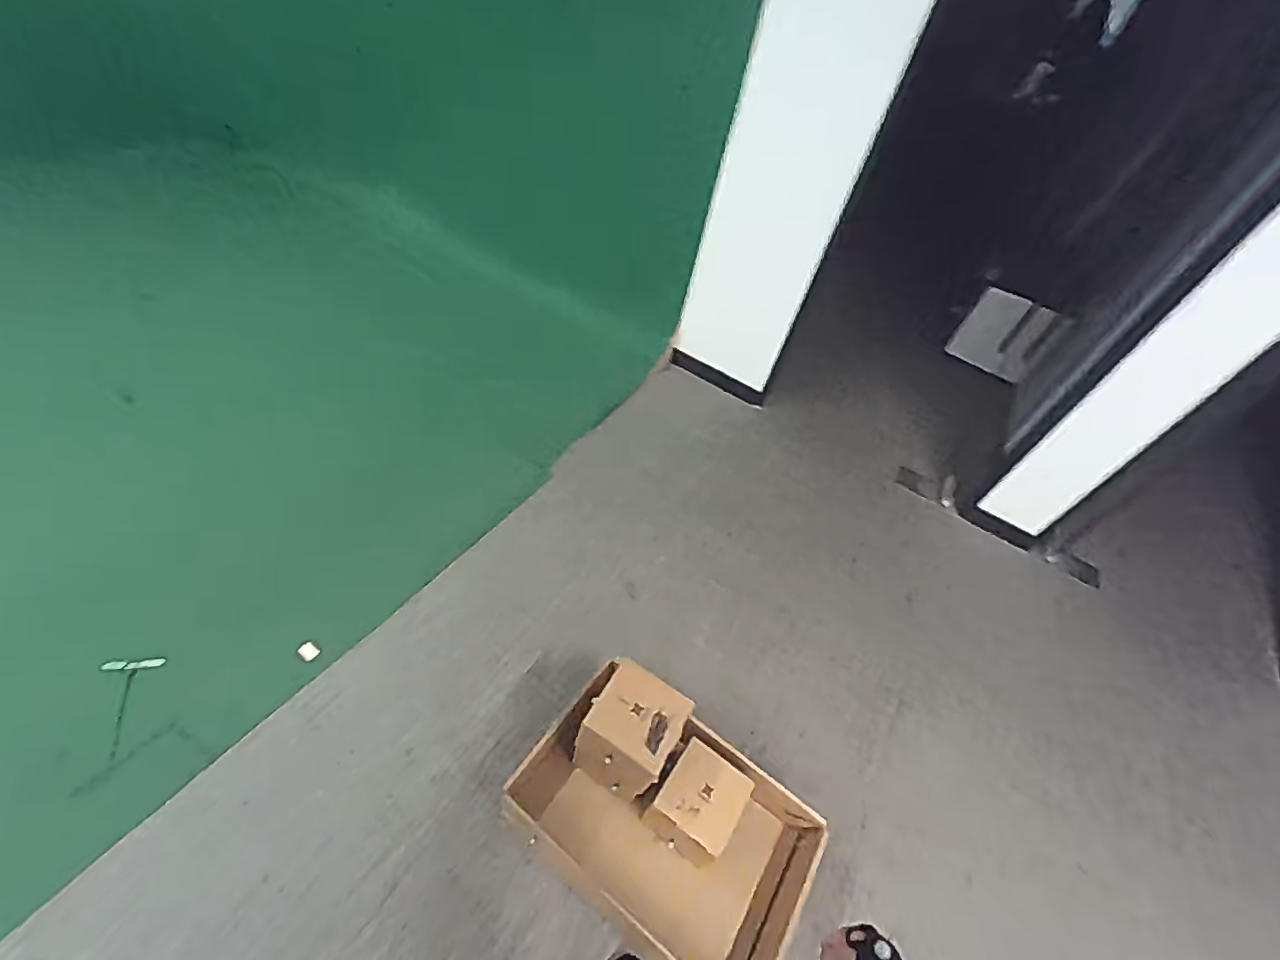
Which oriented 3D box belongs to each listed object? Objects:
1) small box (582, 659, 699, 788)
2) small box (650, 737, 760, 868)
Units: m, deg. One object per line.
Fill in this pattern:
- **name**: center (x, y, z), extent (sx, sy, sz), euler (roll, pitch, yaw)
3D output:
- **small box**: center (-0.004, 0.519, 1.142), extent (0.179, 0.176, 0.168), euler (30, 50, 15)
- **small box**: center (0.138, 0.725, 1.213), extent (0.168, 0.176, 0.179), euler (33, 51, 18)
